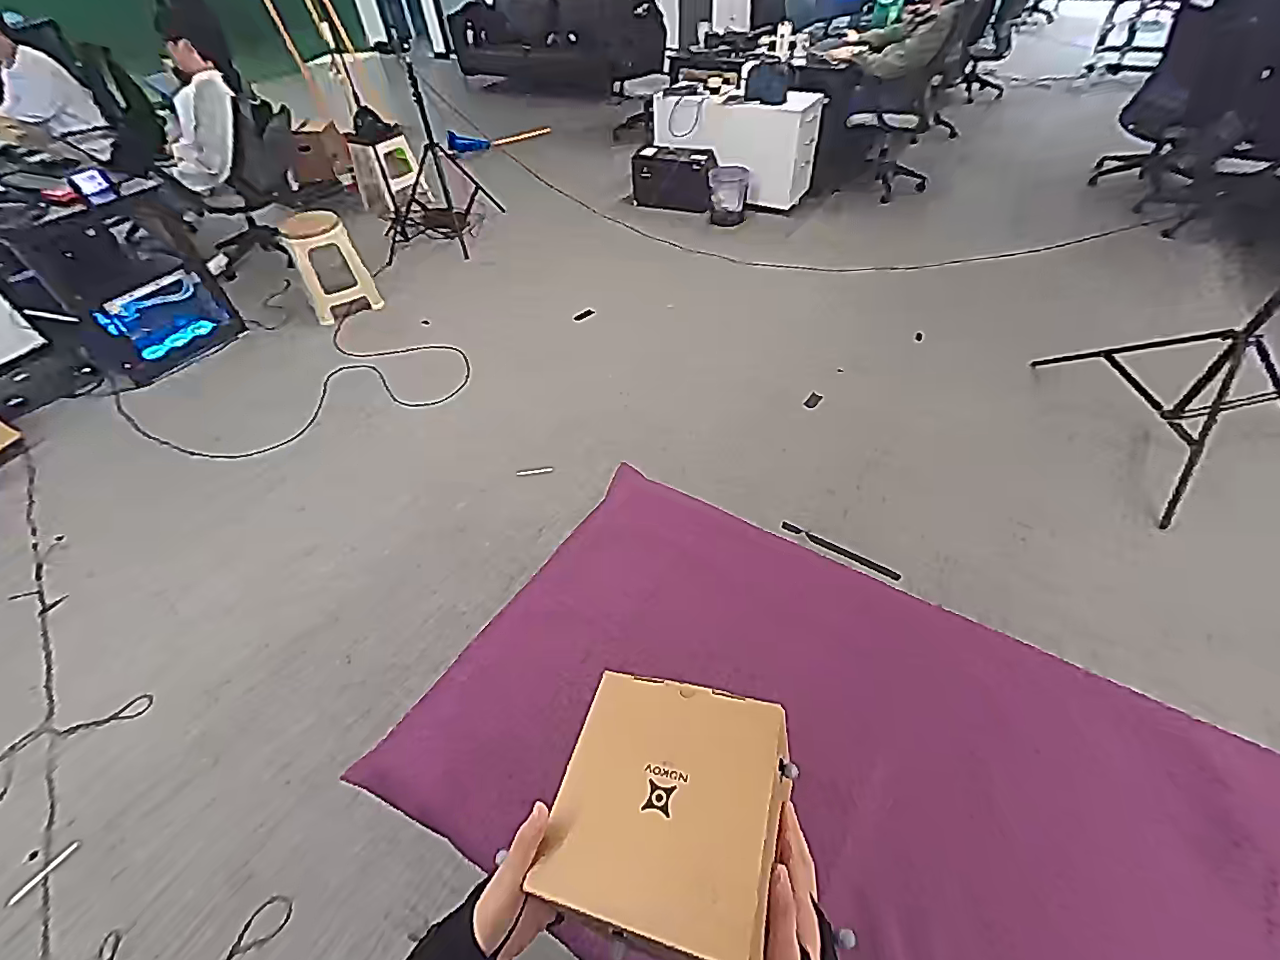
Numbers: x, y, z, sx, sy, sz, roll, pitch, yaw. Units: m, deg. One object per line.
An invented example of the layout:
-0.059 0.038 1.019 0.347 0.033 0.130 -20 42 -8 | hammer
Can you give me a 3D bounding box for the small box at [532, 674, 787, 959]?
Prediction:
0.036 0.305 0.478 0.168 0.176 0.179 3 42 21 | small box
